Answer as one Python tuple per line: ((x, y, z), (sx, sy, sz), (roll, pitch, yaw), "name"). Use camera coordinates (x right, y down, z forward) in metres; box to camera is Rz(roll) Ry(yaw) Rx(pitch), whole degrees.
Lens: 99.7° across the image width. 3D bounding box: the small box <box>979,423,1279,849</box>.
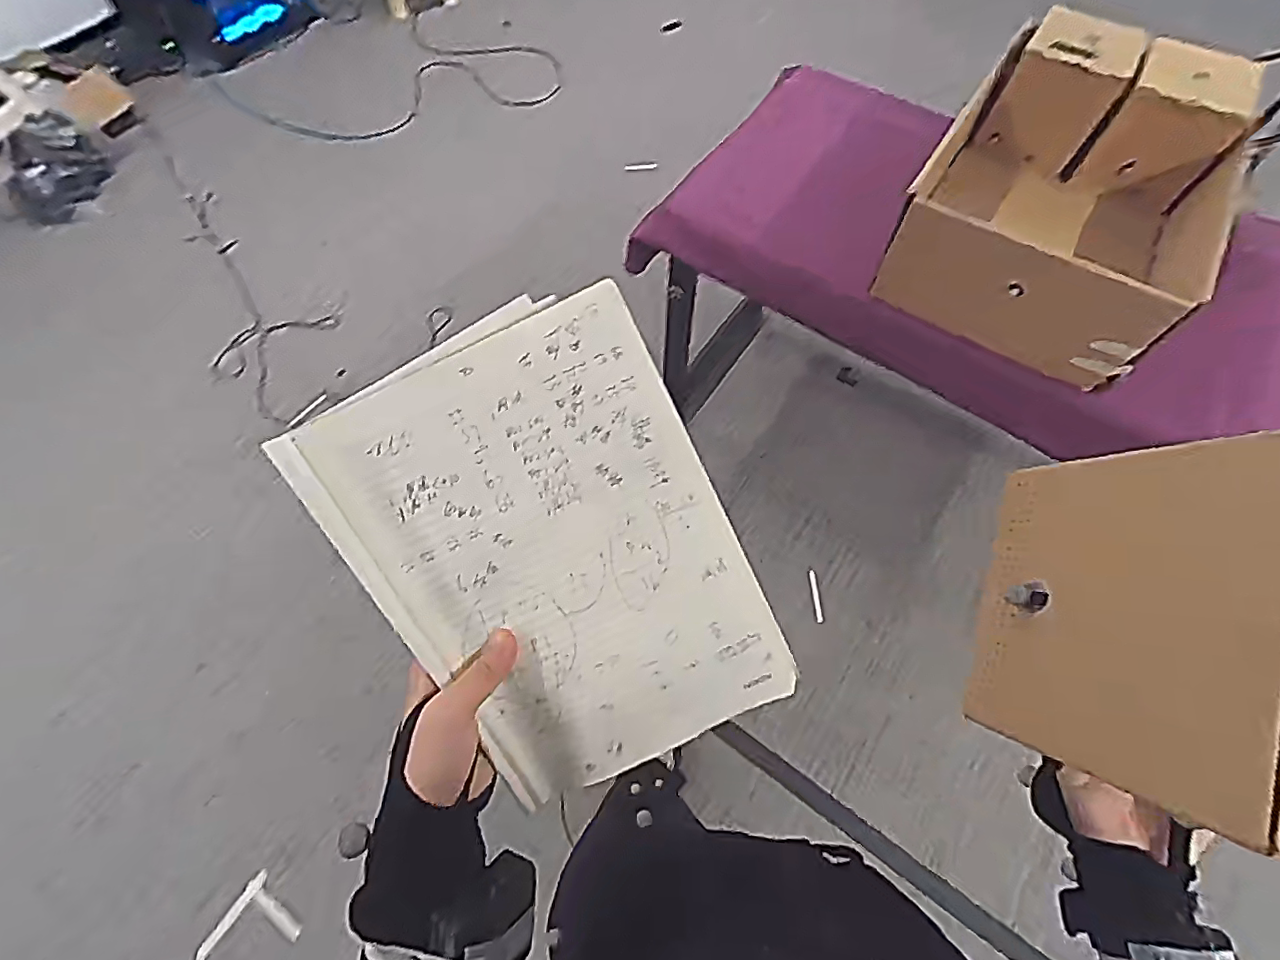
((0.328, 0.085, 0.297), (0.168, 0.176, 0.179), (17, 83, -5), "small box")
